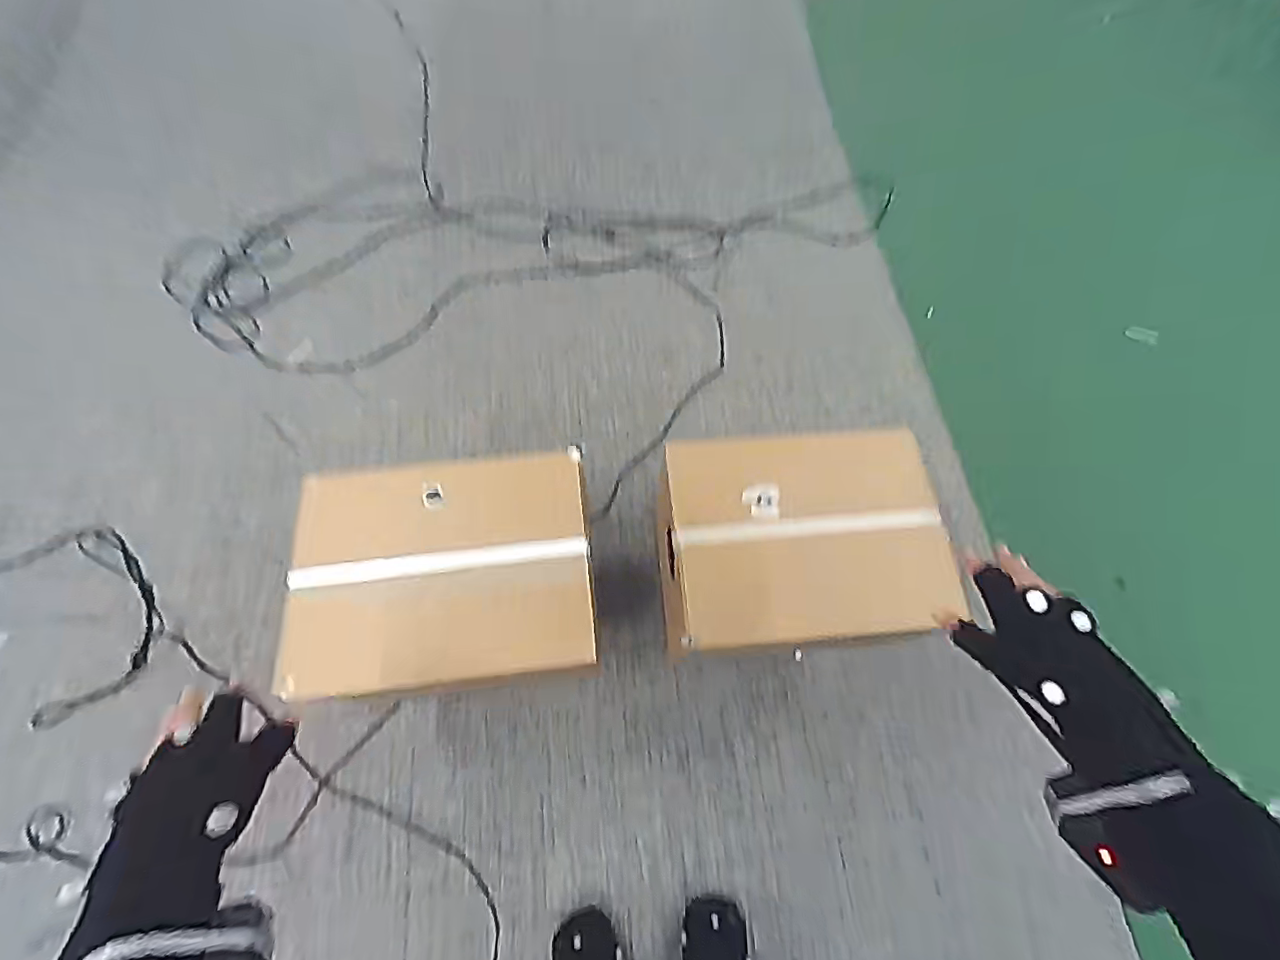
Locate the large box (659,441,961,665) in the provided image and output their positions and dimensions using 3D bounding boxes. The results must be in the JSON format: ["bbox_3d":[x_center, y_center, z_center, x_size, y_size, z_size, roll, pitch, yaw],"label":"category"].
[{"bbox_3d":[0.255,0.145,0.962,0.408,0.320,0.320,-4,67,-4],"label":"large box"}]
